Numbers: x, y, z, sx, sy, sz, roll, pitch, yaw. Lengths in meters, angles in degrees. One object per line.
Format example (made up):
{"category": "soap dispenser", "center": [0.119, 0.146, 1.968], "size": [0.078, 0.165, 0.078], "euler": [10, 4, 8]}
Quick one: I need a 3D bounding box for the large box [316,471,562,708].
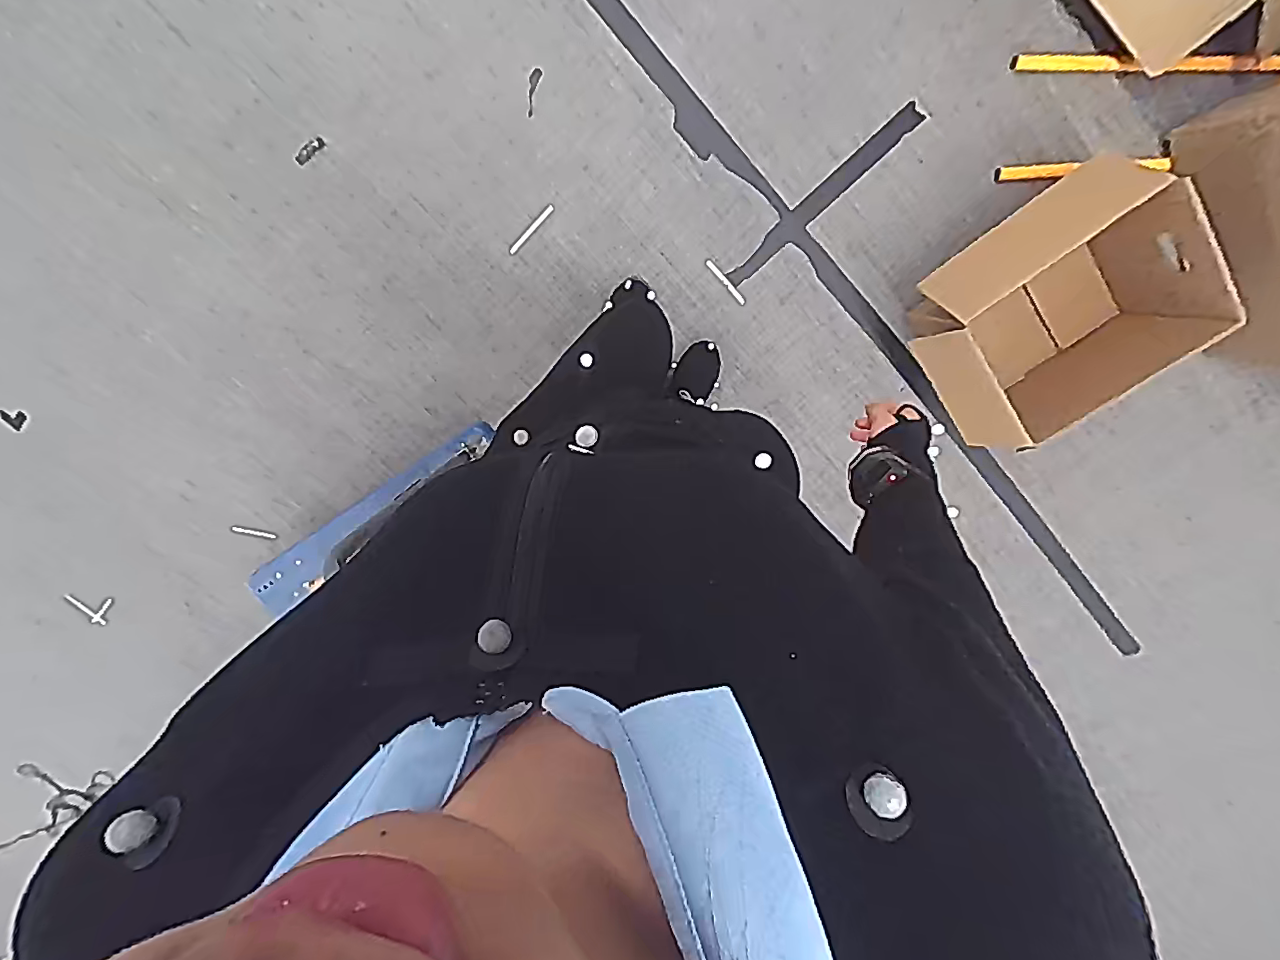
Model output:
{"category": "large box", "center": [-0.452, 0.254, 1.311], "size": [0.320, 0.320, 0.408], "euler": [-31, 104, 13]}
